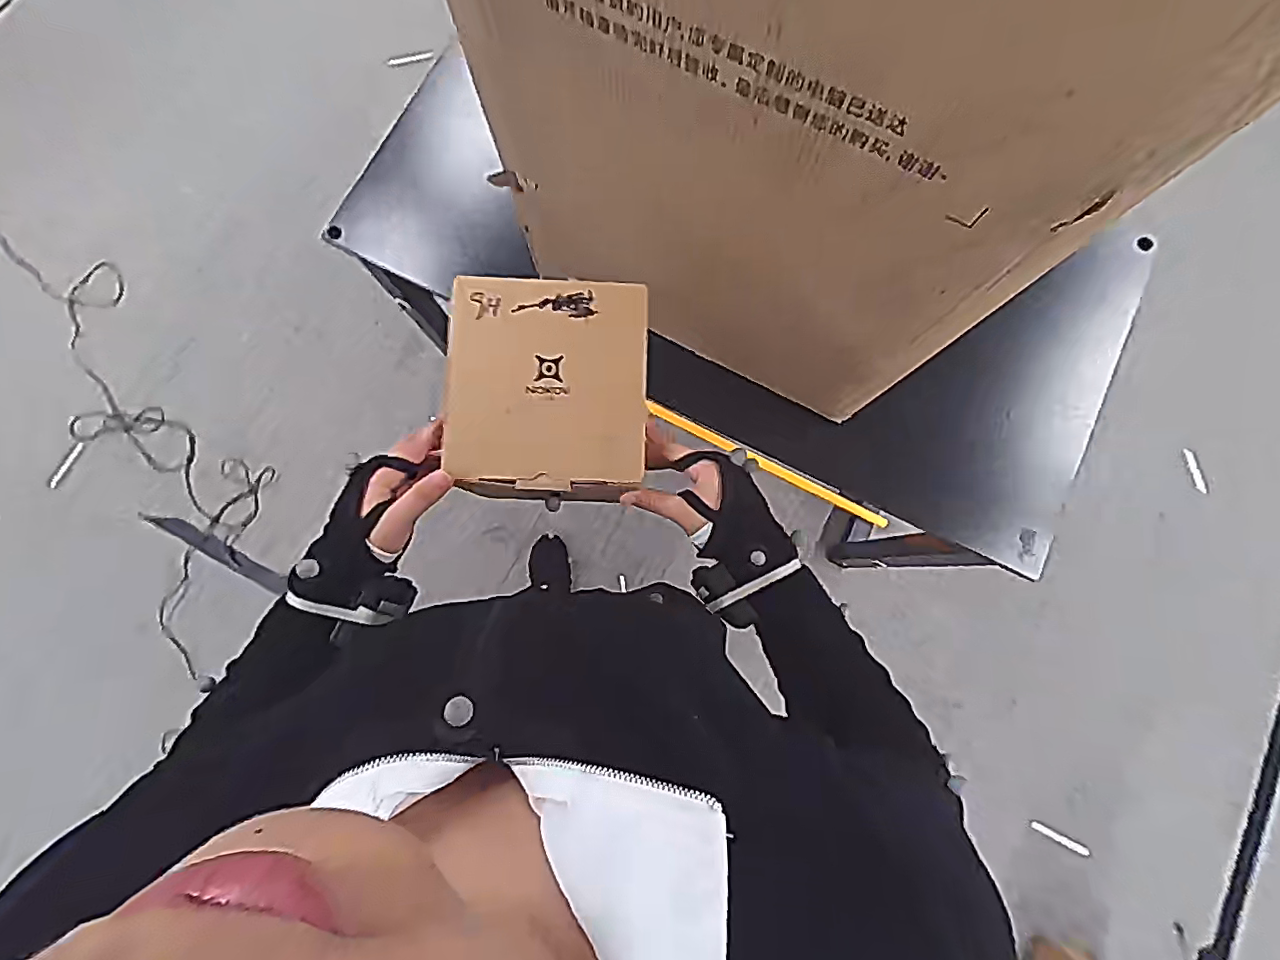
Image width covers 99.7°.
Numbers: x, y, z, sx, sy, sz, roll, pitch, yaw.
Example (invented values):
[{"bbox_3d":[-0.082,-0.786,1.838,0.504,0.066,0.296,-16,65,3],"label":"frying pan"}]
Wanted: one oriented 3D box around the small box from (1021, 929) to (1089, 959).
[{"bbox_3d":[1.024,1.223,1.270,0.168,0.176,0.179,30,83,5],"label":"small box"}]
